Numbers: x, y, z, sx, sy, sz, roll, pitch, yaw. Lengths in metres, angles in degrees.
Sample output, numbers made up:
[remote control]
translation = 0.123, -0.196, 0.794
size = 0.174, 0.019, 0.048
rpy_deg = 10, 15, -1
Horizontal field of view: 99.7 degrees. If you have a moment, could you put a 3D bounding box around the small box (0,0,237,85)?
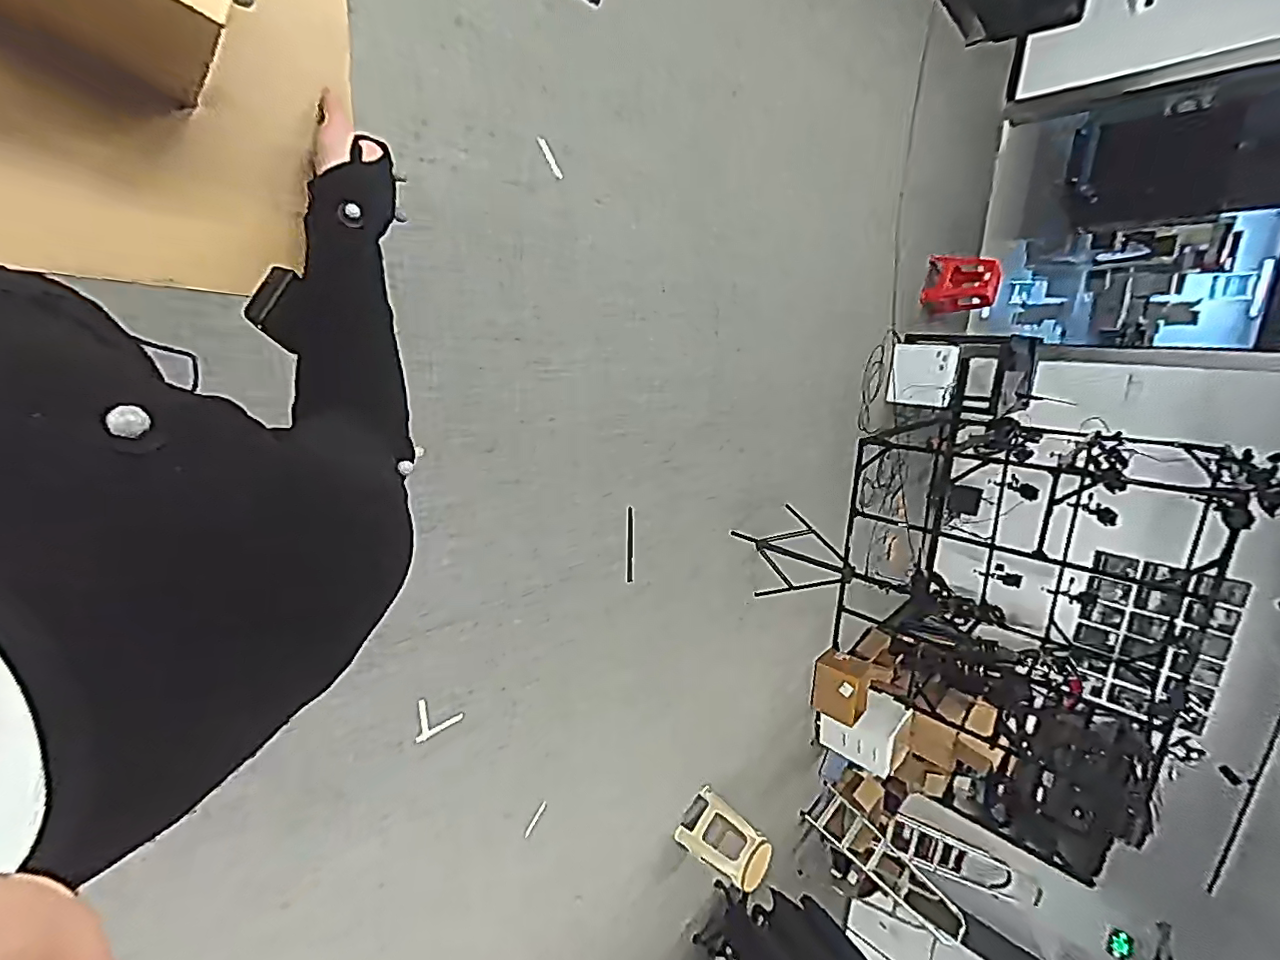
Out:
[small box]
translation = -0.361, -0.391, 0.339
size = 0.179, 0.176, 0.168
rpy_deg = 10, 94, -44
